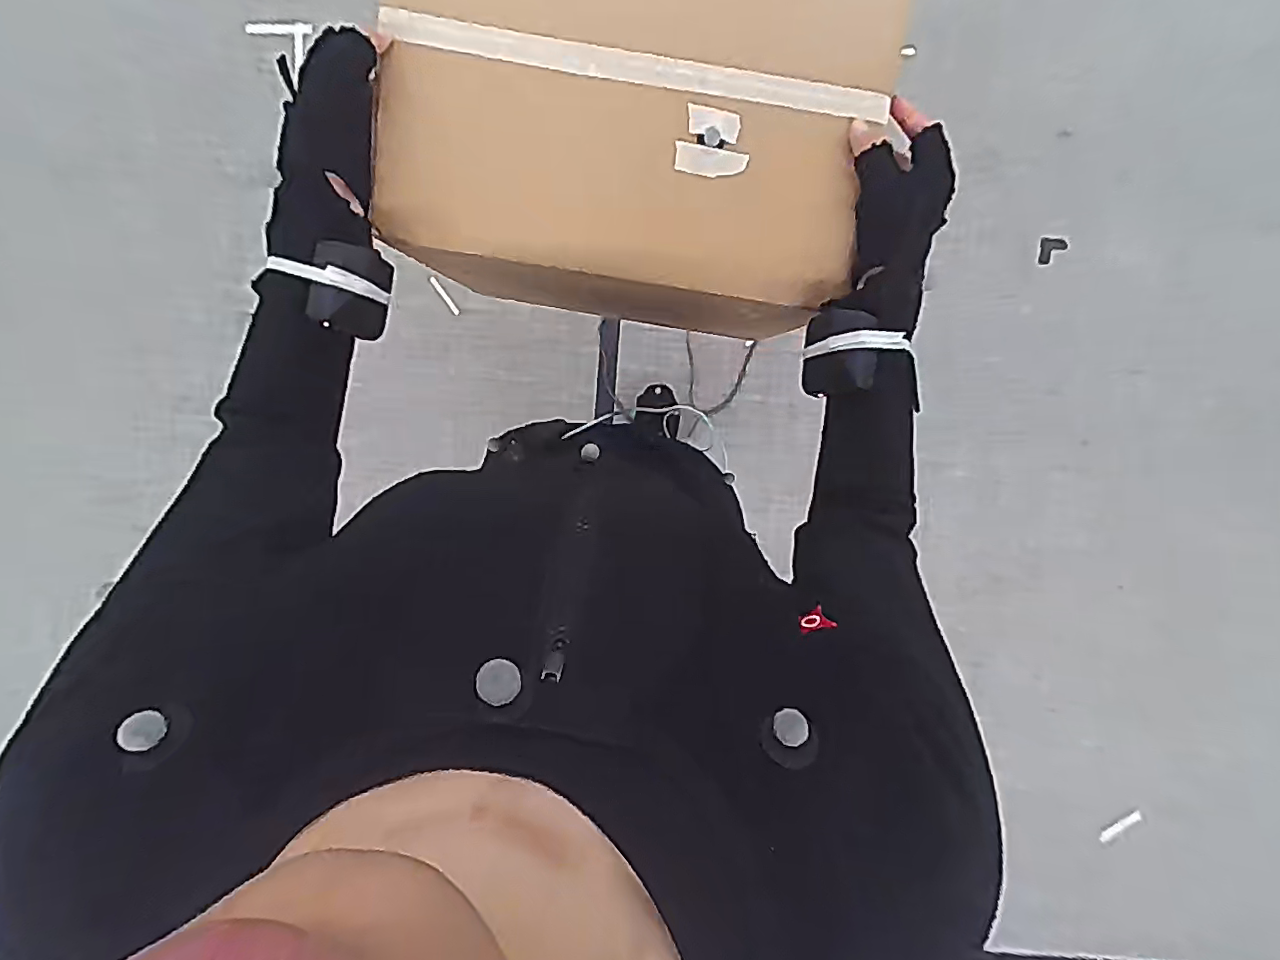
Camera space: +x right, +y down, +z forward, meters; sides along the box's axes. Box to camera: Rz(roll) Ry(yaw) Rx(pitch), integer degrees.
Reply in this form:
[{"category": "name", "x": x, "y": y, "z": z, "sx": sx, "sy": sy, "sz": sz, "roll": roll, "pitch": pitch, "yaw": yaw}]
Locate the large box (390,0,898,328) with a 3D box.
[{"category": "large box", "x": -0.003, "y": -0.360, "z": 0.589, "sx": 0.408, "sy": 0.320, "sz": 0.320, "roll": 8, "pitch": 101, "yaw": -2}]
